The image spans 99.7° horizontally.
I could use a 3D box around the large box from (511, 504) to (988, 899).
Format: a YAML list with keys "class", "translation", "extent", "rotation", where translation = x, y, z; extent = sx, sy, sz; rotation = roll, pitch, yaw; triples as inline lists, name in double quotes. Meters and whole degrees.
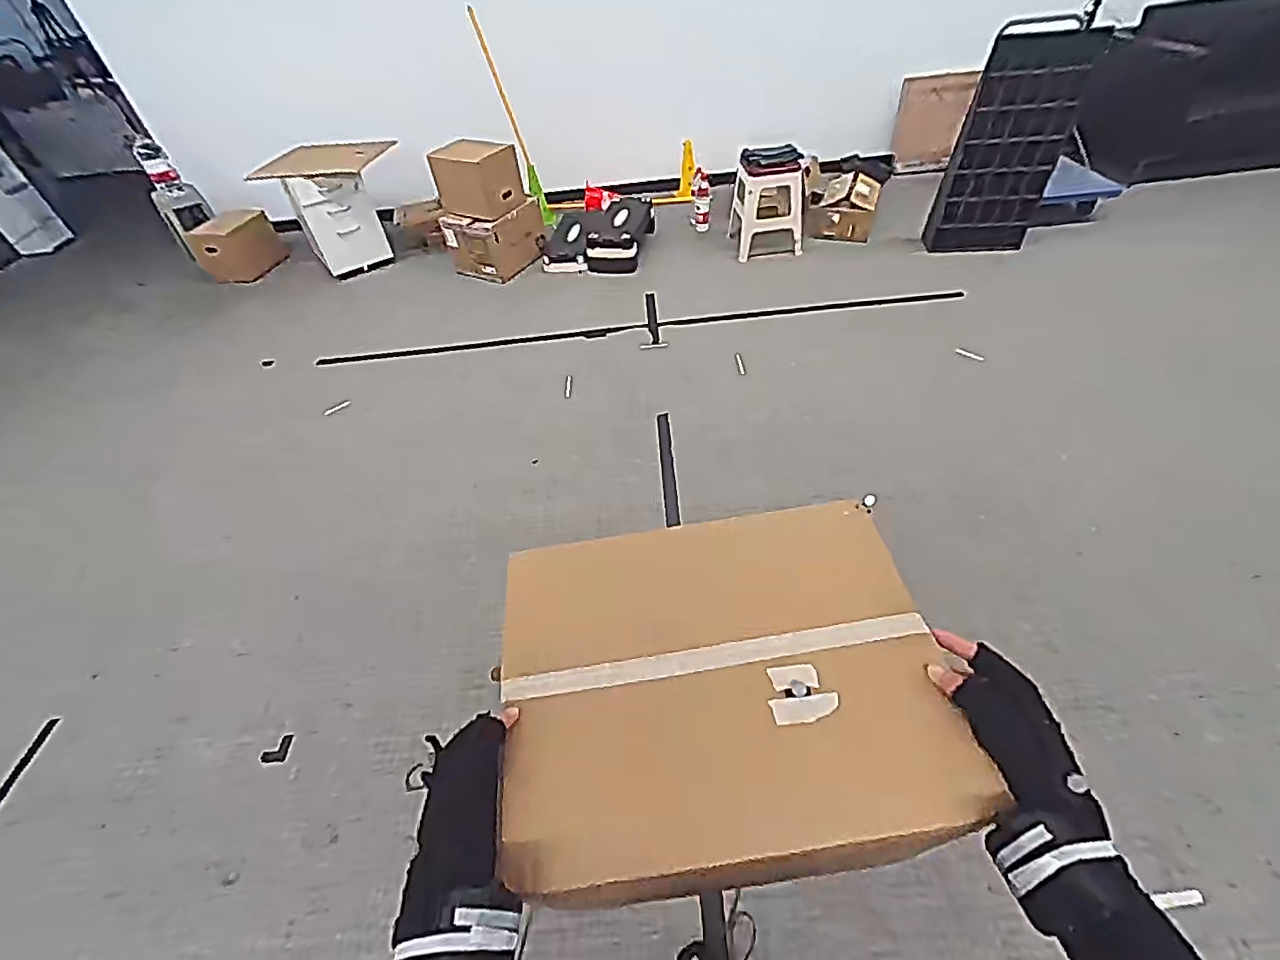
- class: "large box"
  translation: [0.083, 0.268, 0.644]
  extent: [0.408, 0.320, 0.320]
  rotation: [-9, 51, -1]
